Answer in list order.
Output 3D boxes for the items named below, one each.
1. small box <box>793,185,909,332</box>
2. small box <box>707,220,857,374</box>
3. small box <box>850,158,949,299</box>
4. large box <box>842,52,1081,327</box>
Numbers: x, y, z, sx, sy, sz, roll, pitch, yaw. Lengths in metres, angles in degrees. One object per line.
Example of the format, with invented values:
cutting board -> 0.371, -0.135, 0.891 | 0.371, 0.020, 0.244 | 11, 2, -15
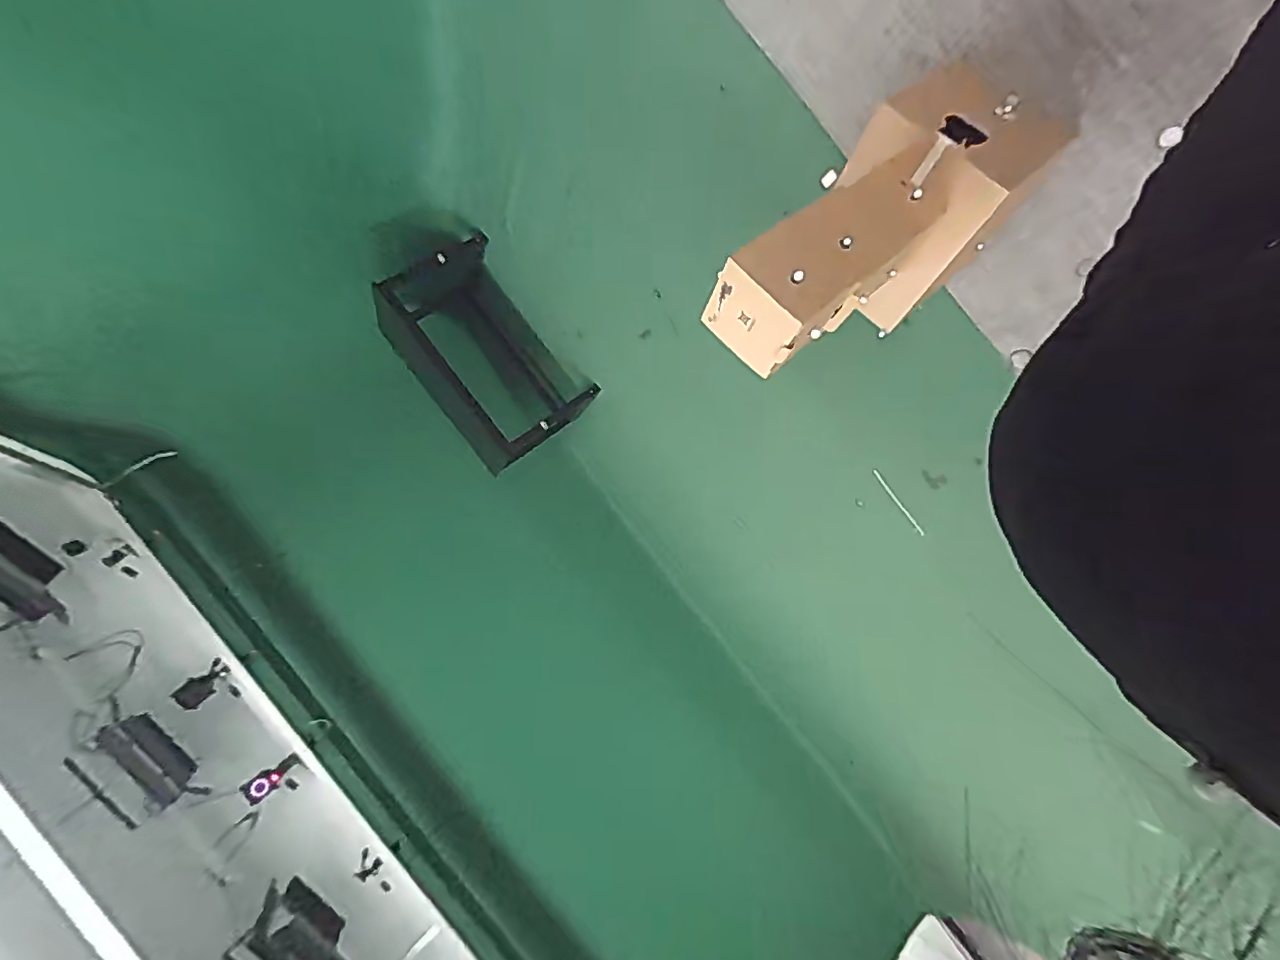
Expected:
small box -> 0.379, -0.435, 1.056 | 0.179, 0.176, 0.168 | 47, 157, 8
small box -> 0.260, -0.339, 0.996 | 0.179, 0.176, 0.168 | 45, 156, 8
small box -> 0.496, -0.523, 1.128 | 0.168, 0.176, 0.179 | 45, 156, 9
large box -> 0.668, -0.653, 1.248 | 0.320, 0.320, 0.408 | 46, 158, 13
